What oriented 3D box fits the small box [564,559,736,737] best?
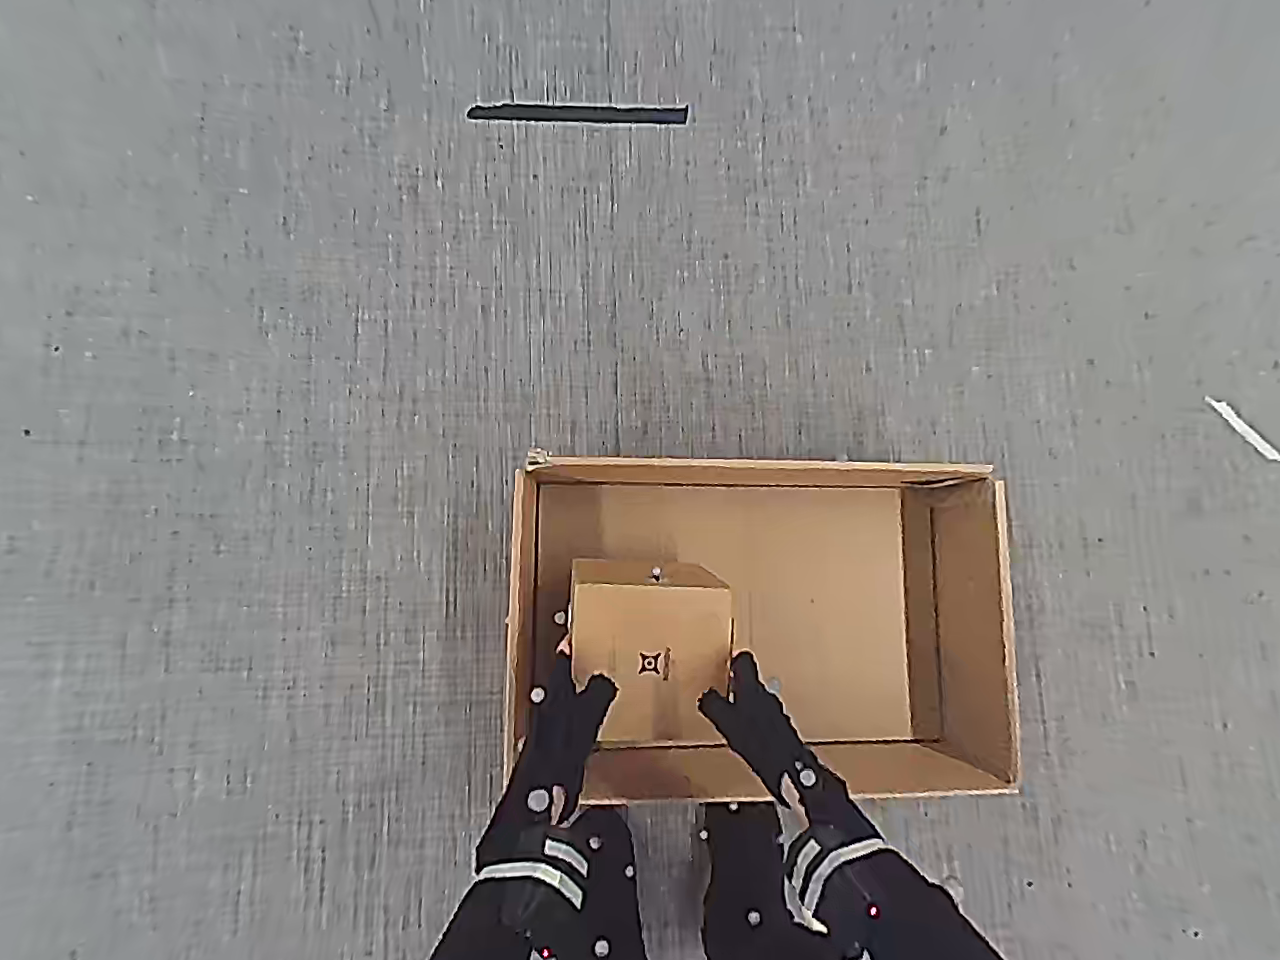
[{"bbox_3d":[0.002,0.191,0.656,0.179,0.176,0.168,4,90,-8],"label":"small box"}]
